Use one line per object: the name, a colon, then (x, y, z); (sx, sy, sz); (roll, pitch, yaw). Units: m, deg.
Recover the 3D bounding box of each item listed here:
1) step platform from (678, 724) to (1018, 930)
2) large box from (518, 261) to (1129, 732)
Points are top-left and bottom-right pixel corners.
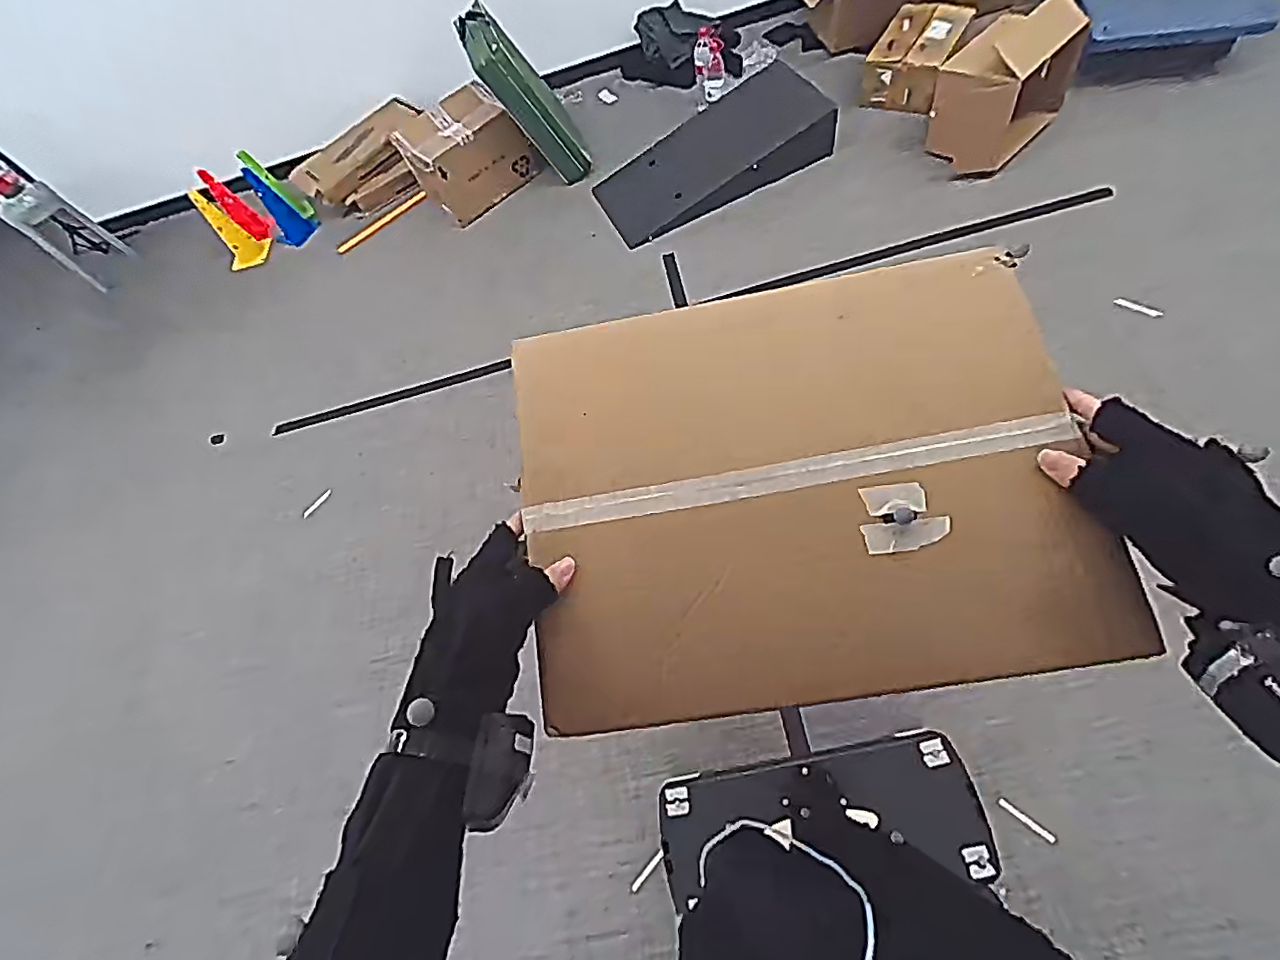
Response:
step platform: (0.430, 0.763, 1.209); (0.684, 0.204, 0.286); (-15, 61, 5)
large box: (0.127, 0.040, 0.558); (0.408, 0.320, 0.320); (-10, 74, 4)
